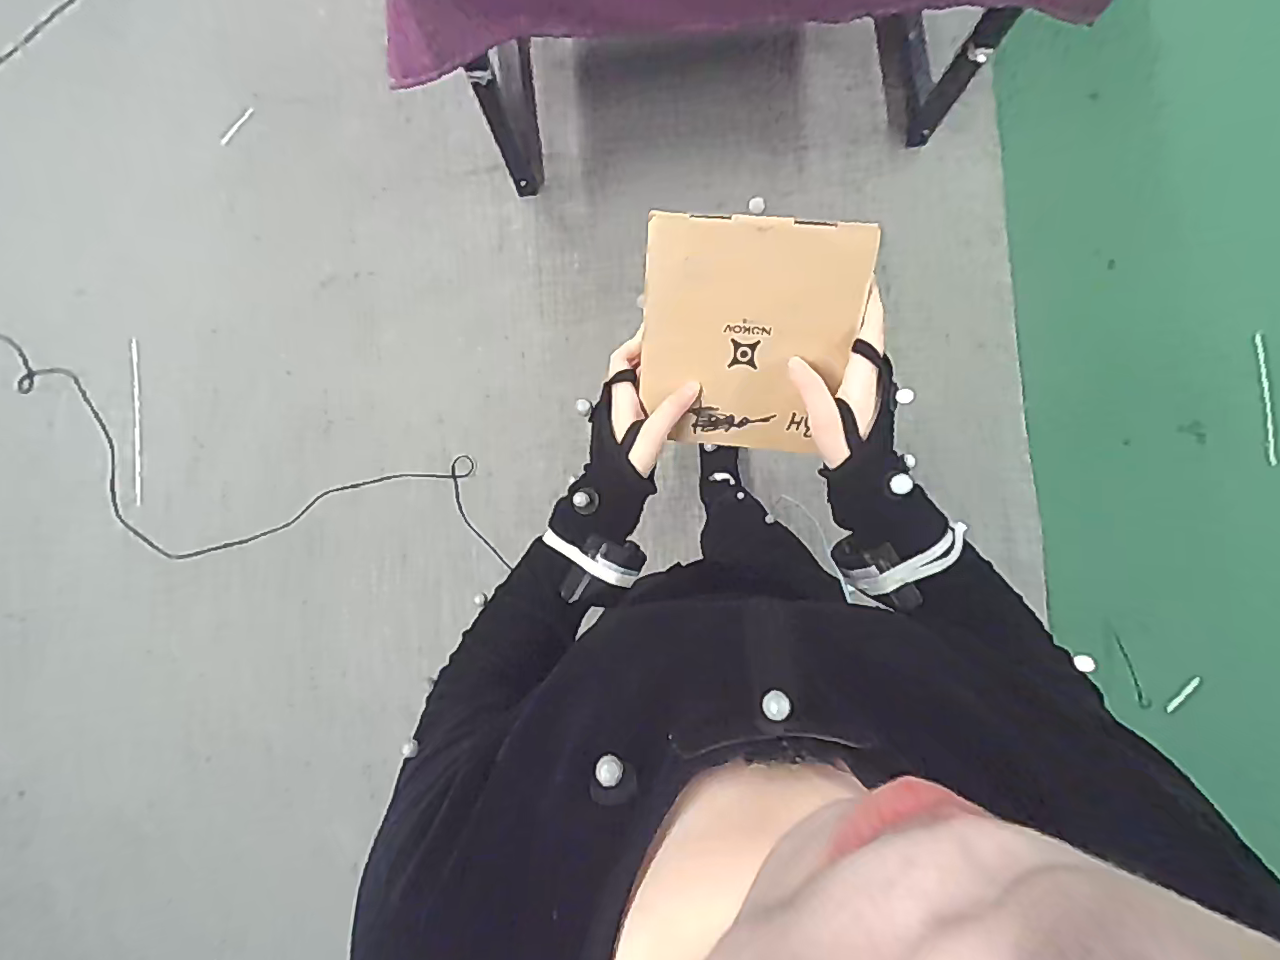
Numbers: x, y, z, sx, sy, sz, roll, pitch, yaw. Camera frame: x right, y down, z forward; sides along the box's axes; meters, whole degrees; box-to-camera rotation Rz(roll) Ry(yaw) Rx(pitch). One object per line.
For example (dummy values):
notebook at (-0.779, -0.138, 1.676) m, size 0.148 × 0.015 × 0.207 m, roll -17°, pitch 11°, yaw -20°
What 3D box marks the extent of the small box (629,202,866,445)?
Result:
small box at (0.085, -0.147, 0.492) m, size 0.168 × 0.176 × 0.179 m, roll 5°, pitch 115°, yaw 6°
